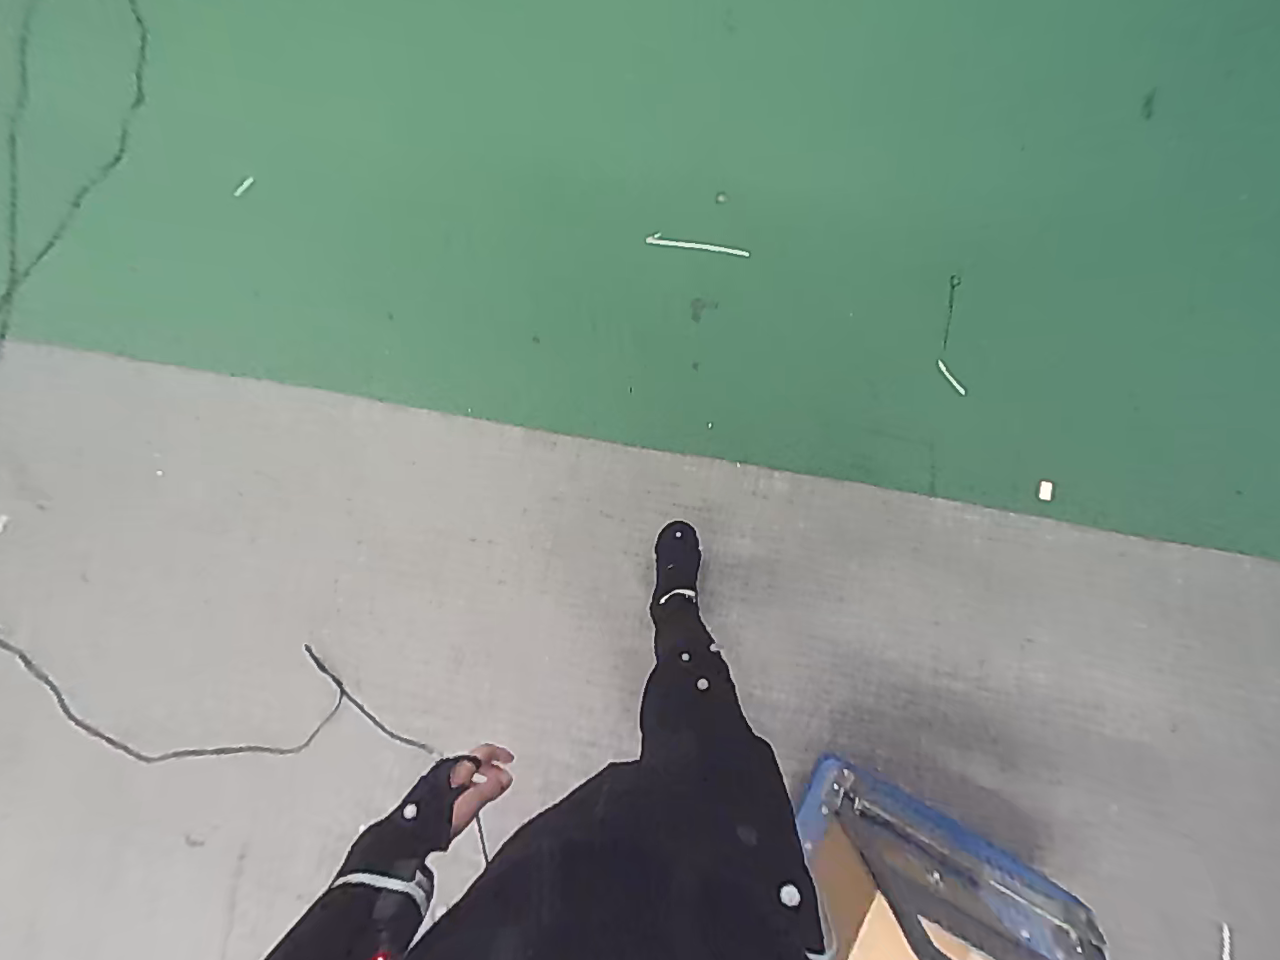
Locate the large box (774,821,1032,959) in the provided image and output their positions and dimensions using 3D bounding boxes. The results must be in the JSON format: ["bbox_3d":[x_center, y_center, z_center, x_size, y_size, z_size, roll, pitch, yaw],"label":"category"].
[{"bbox_3d":[0.434,0.915,0.934,0.320,0.320,0.408,26,82,12],"label":"large box"}]
